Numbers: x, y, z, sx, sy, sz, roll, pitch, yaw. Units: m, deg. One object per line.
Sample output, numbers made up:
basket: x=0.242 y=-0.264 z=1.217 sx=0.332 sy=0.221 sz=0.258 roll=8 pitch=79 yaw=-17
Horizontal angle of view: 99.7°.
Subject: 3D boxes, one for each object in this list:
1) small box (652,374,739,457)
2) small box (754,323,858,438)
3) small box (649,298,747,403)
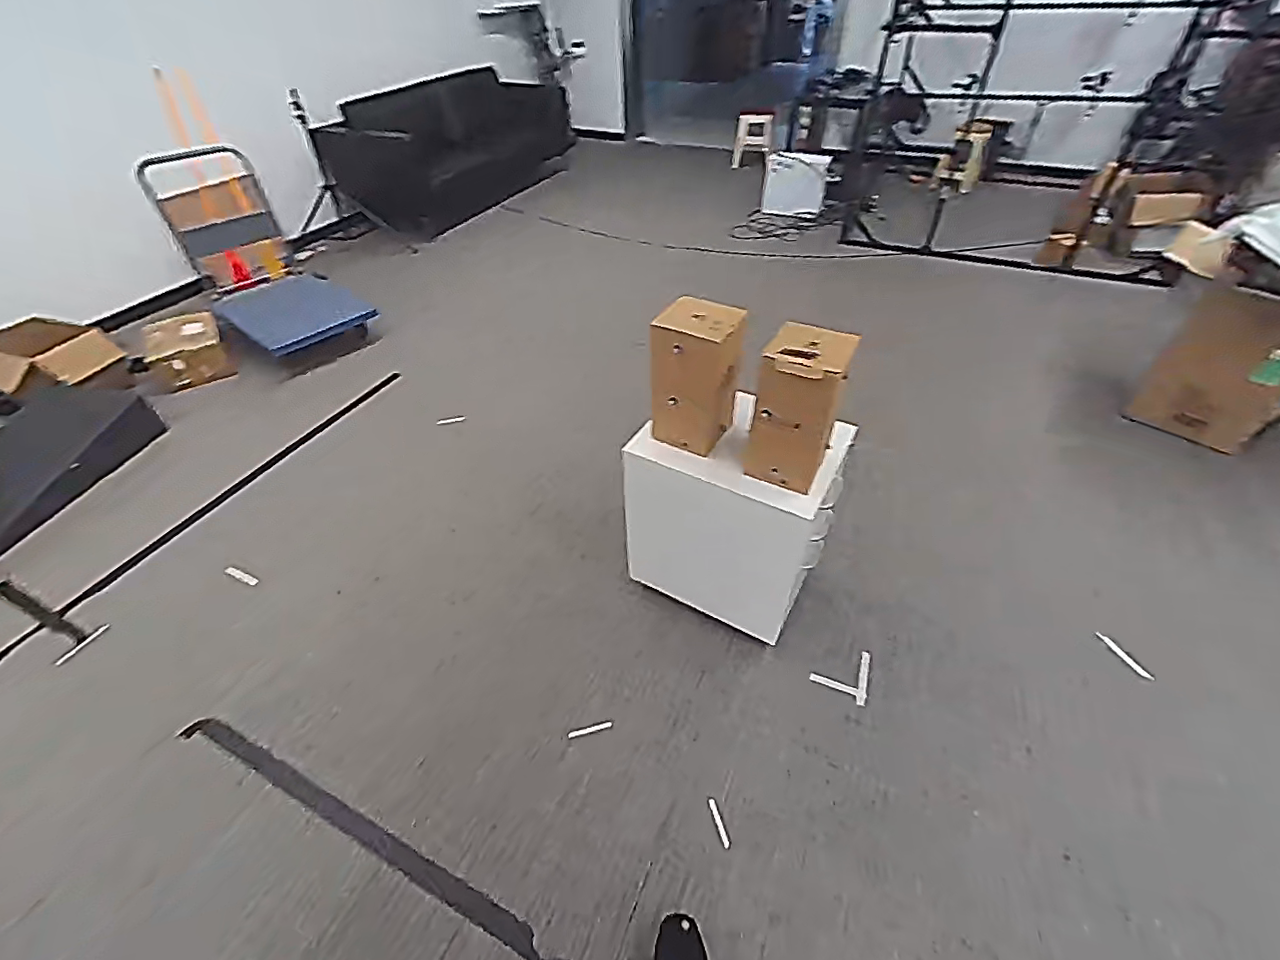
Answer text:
small box: x=0.140 y=-0.190 z=1.407 sx=0.168 sy=0.176 sz=0.179 roll=22 pitch=47 yaw=23
small box: x=0.360 y=-0.218 z=1.193 sx=0.168 sy=0.176 sz=0.179 roll=20 pitch=47 yaw=21
small box: x=0.135 y=-0.308 z=1.291 sx=0.179 sy=0.176 sz=0.168 roll=22 pitch=49 yaw=22
